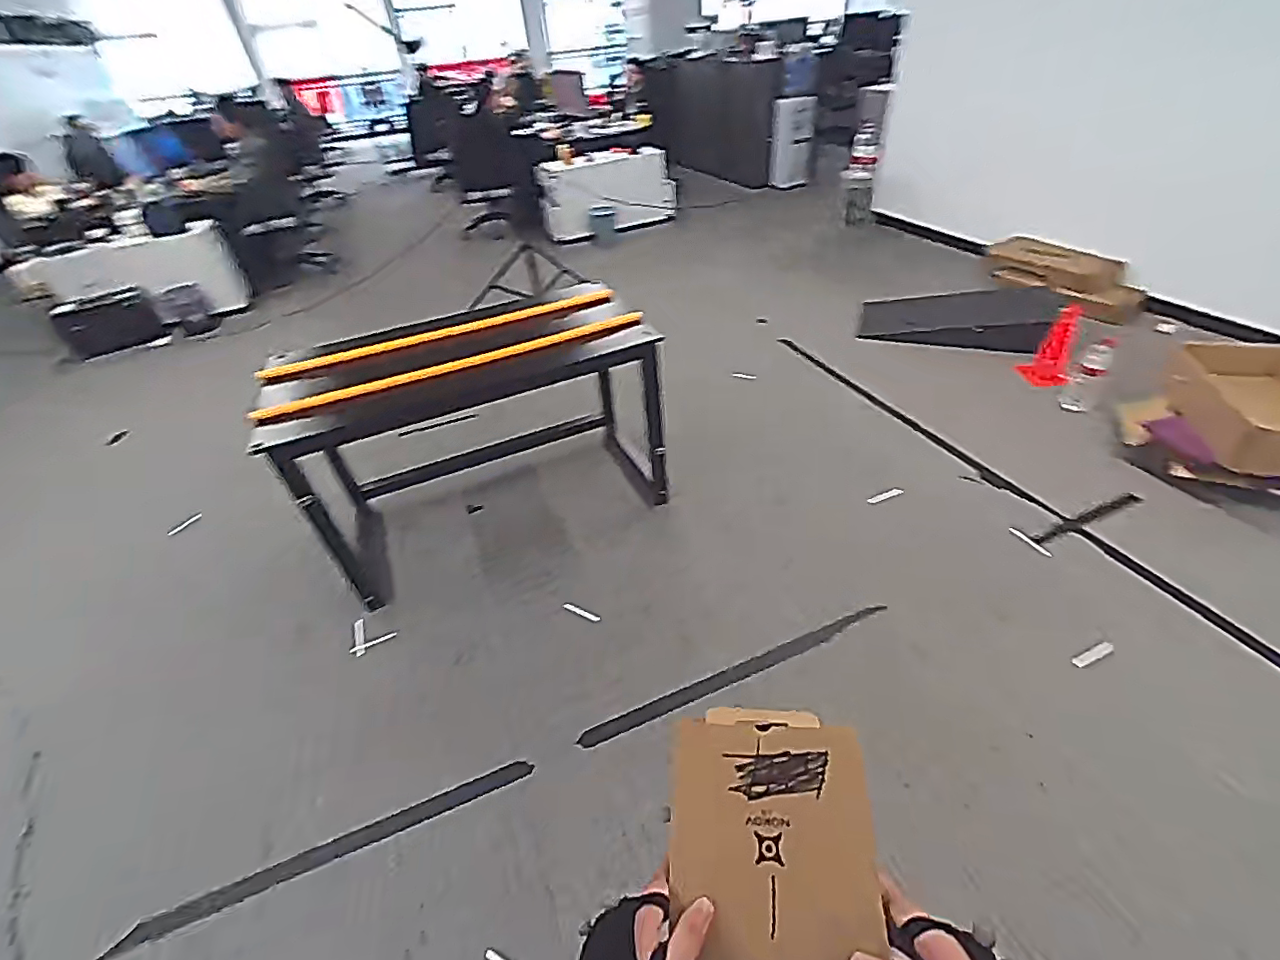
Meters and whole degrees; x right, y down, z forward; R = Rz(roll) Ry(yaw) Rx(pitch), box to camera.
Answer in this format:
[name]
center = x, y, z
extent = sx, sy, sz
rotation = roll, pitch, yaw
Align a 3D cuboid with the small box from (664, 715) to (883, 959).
[small box]
center = 0.110, 0.337, 0.516
extent = 0.168, 0.176, 0.179
rotation = -1, 56, 6
